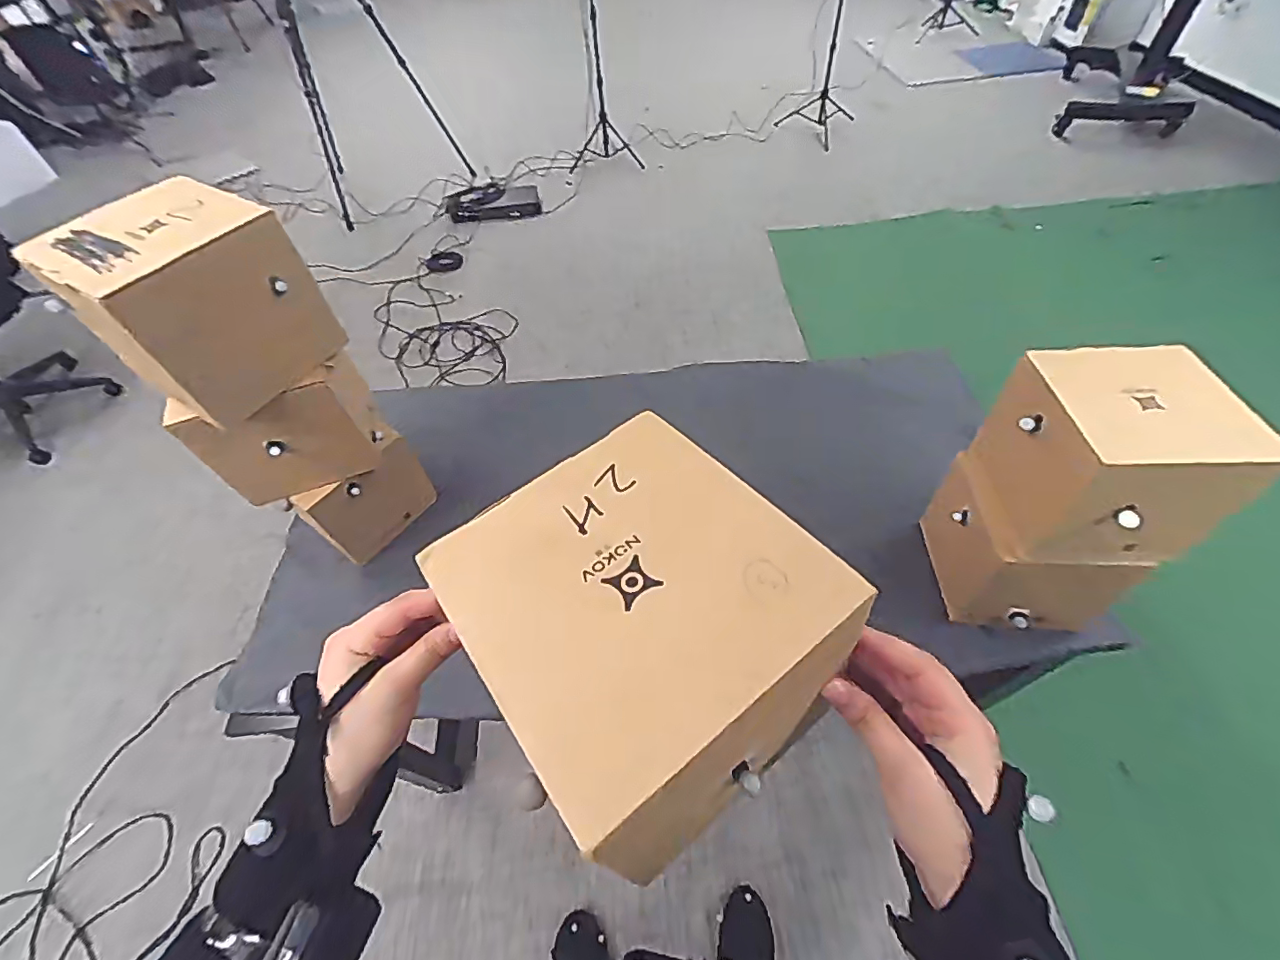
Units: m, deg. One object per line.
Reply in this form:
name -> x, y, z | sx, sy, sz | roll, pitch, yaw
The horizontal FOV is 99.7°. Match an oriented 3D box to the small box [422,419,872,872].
small box -> 0.005, 0.102, 0.332 | 0.168, 0.176, 0.179 | -33, 52, -18

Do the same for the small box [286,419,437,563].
small box -> -0.463, 0.003, 0.862 | 0.179, 0.176, 0.168 | 29, 60, 23

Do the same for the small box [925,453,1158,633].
small box -> 0.504, 0.083, 0.717 | 0.168, 0.176, 0.179 | 0, 50, 7

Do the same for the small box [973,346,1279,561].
small box -> 0.505, -0.024, 0.594 | 0.168, 0.176, 0.179 | -1, 48, 5

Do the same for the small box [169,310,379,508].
small box -> -0.473, -0.092, 0.728 | 0.179, 0.176, 0.168 | -21, 55, -10
